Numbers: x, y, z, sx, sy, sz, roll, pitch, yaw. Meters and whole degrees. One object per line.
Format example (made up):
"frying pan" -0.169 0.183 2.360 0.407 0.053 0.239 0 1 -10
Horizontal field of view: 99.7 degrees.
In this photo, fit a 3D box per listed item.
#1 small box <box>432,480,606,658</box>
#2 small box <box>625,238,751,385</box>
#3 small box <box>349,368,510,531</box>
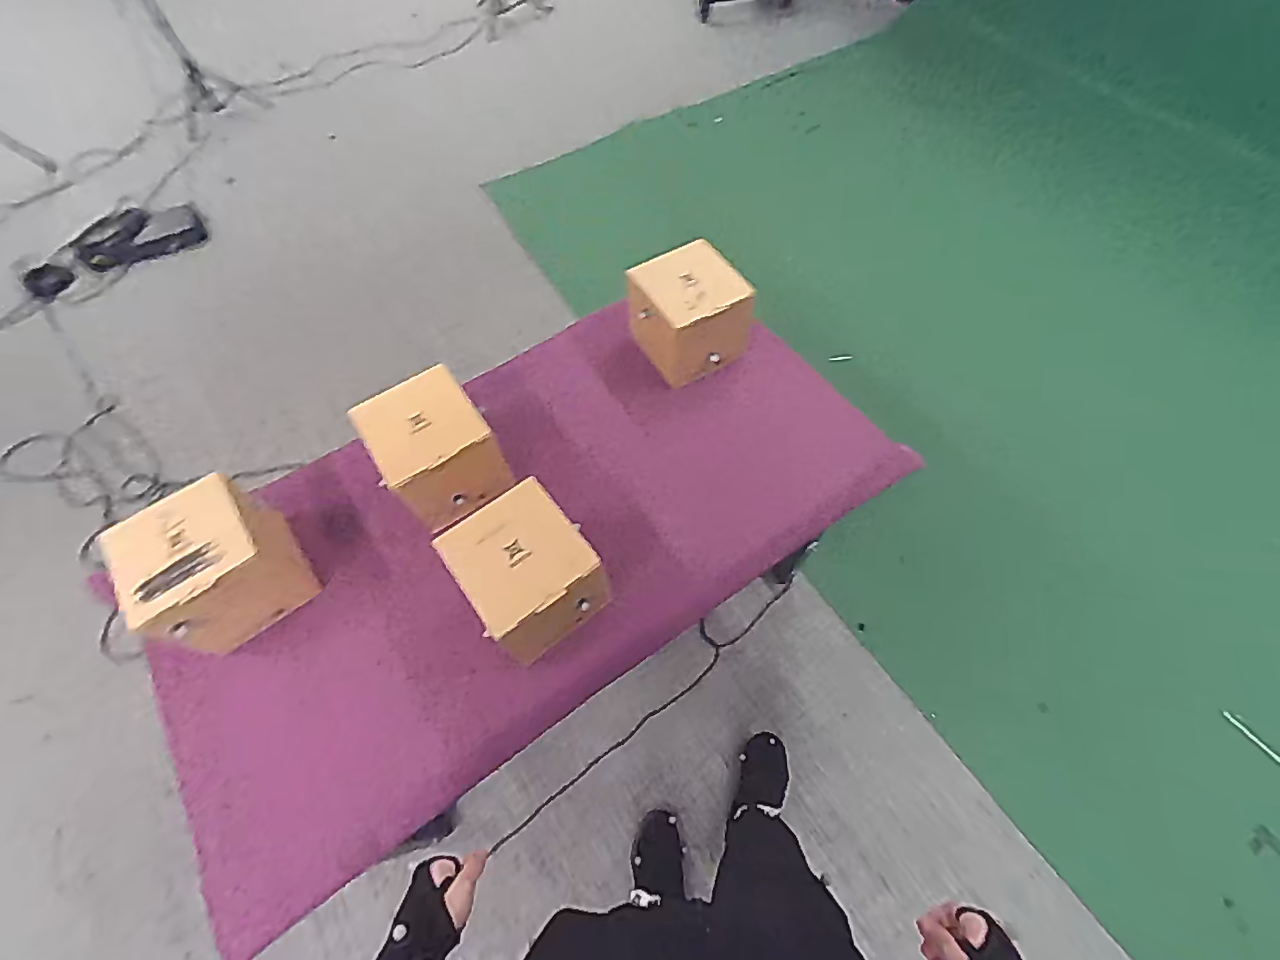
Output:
"small box" -0.165 0.139 0.792 0.168 0.176 0.179 -35 64 -17
"small box" 0.085 -0.316 1.031 0.168 0.176 0.179 -28 65 -12
"small box" -0.342 -0.046 0.903 0.168 0.176 0.179 -33 66 -15
